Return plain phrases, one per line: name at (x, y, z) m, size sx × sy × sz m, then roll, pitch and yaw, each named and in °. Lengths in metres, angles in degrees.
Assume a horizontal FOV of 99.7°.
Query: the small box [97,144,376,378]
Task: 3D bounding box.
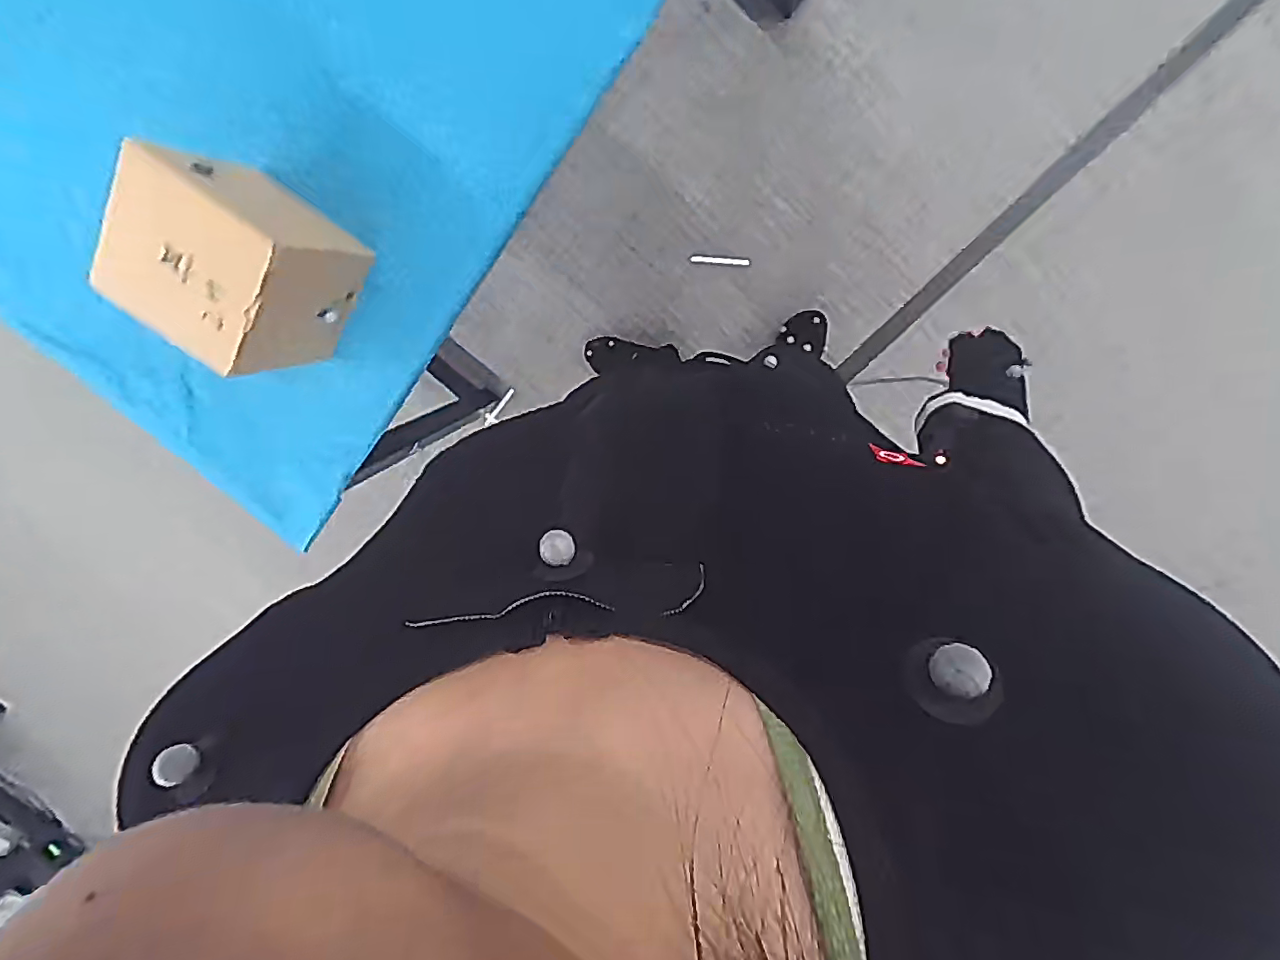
small box at (-0.461, -0.249, 0.641) m, size 0.179 × 0.176 × 0.168 m, roll 38°, pitch 112°, yaw -8°
